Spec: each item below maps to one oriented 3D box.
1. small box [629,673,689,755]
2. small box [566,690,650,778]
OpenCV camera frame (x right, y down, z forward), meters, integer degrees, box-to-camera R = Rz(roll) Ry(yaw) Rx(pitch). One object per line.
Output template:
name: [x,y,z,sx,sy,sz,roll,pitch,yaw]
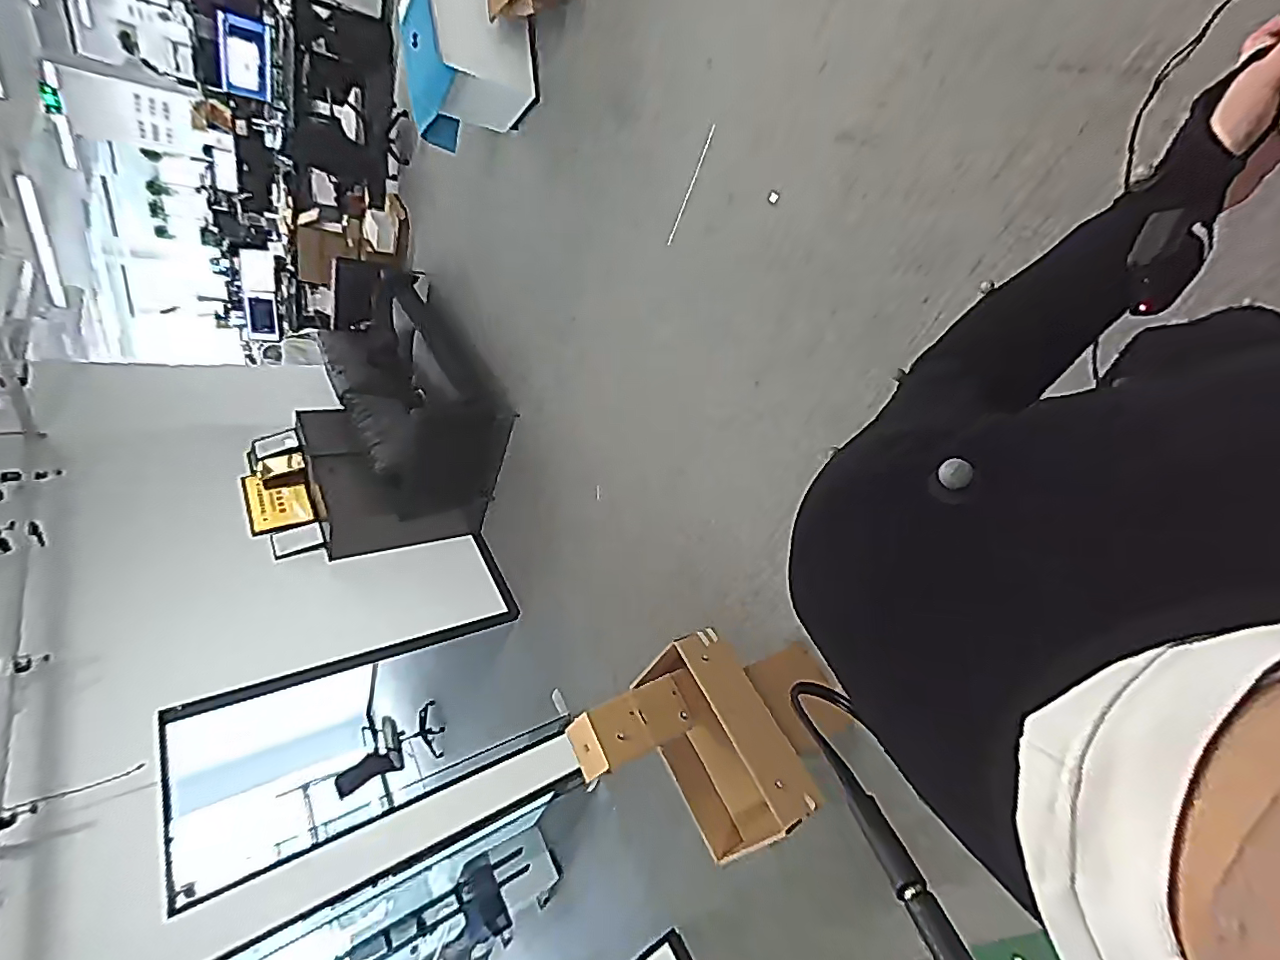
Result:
small box: [0.034,0.747,1.737,0.168,0.176,0.179,59,137,26]
small box: [-0.093,0.764,1.637,0.168,0.176,0.179,59,137,25]
